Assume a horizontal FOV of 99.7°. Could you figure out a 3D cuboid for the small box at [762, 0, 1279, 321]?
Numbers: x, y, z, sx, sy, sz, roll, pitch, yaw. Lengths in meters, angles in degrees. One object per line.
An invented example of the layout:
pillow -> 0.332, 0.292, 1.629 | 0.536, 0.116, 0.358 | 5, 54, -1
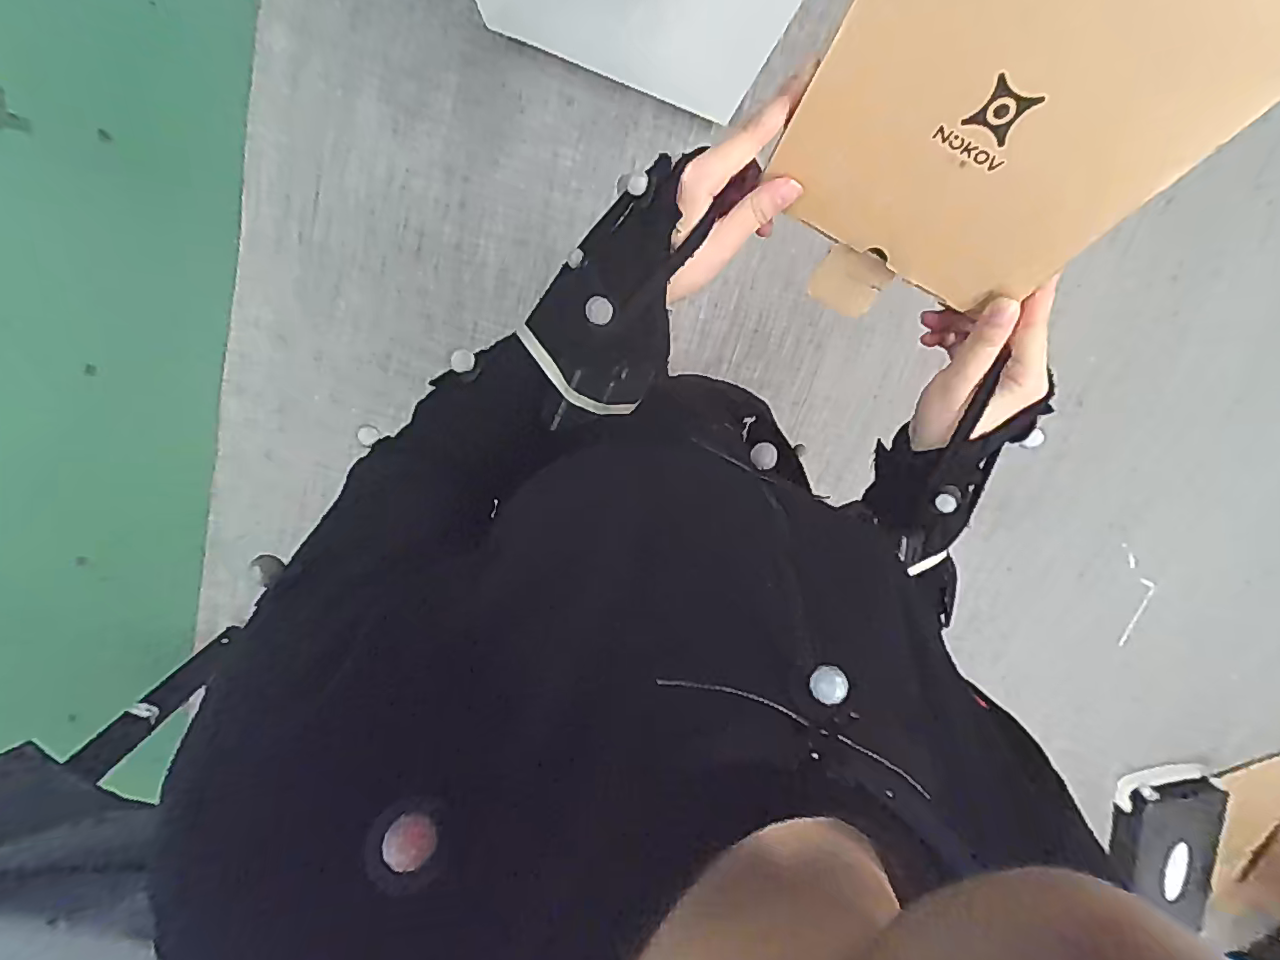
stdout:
small box -> 0.192, -0.230, 0.285 | 0.168, 0.179, 0.176 | 27, 62, -3
